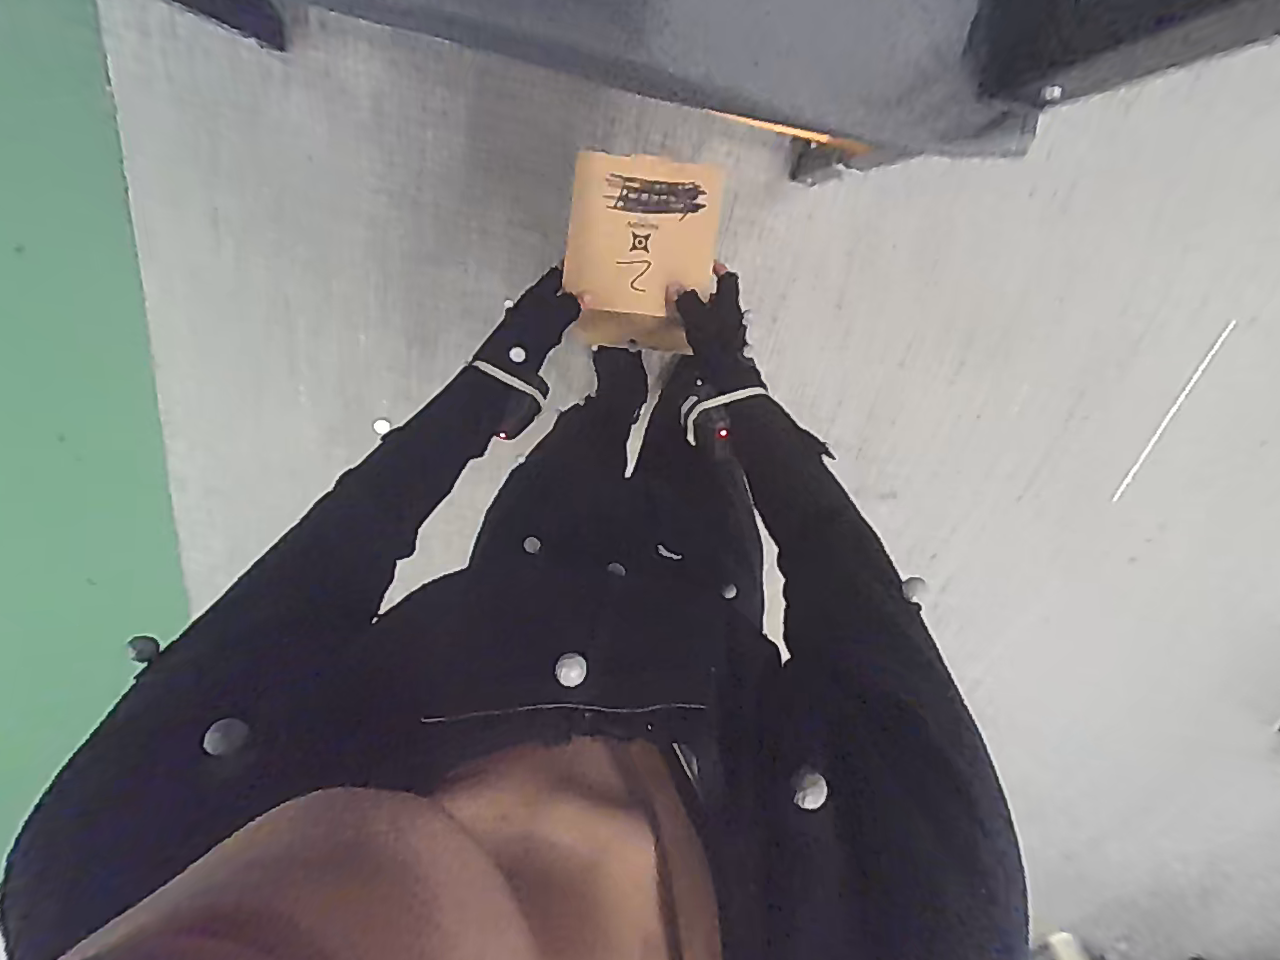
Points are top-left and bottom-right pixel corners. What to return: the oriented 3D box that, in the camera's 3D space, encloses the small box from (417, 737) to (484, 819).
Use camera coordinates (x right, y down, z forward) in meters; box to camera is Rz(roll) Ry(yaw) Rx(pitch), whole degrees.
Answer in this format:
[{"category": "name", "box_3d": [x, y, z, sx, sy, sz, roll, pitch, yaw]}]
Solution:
[{"category": "small box", "box_3d": [-0.650, 1.027, 1.872, 0.168, 0.176, 0.179, 14, 114, -3]}]
